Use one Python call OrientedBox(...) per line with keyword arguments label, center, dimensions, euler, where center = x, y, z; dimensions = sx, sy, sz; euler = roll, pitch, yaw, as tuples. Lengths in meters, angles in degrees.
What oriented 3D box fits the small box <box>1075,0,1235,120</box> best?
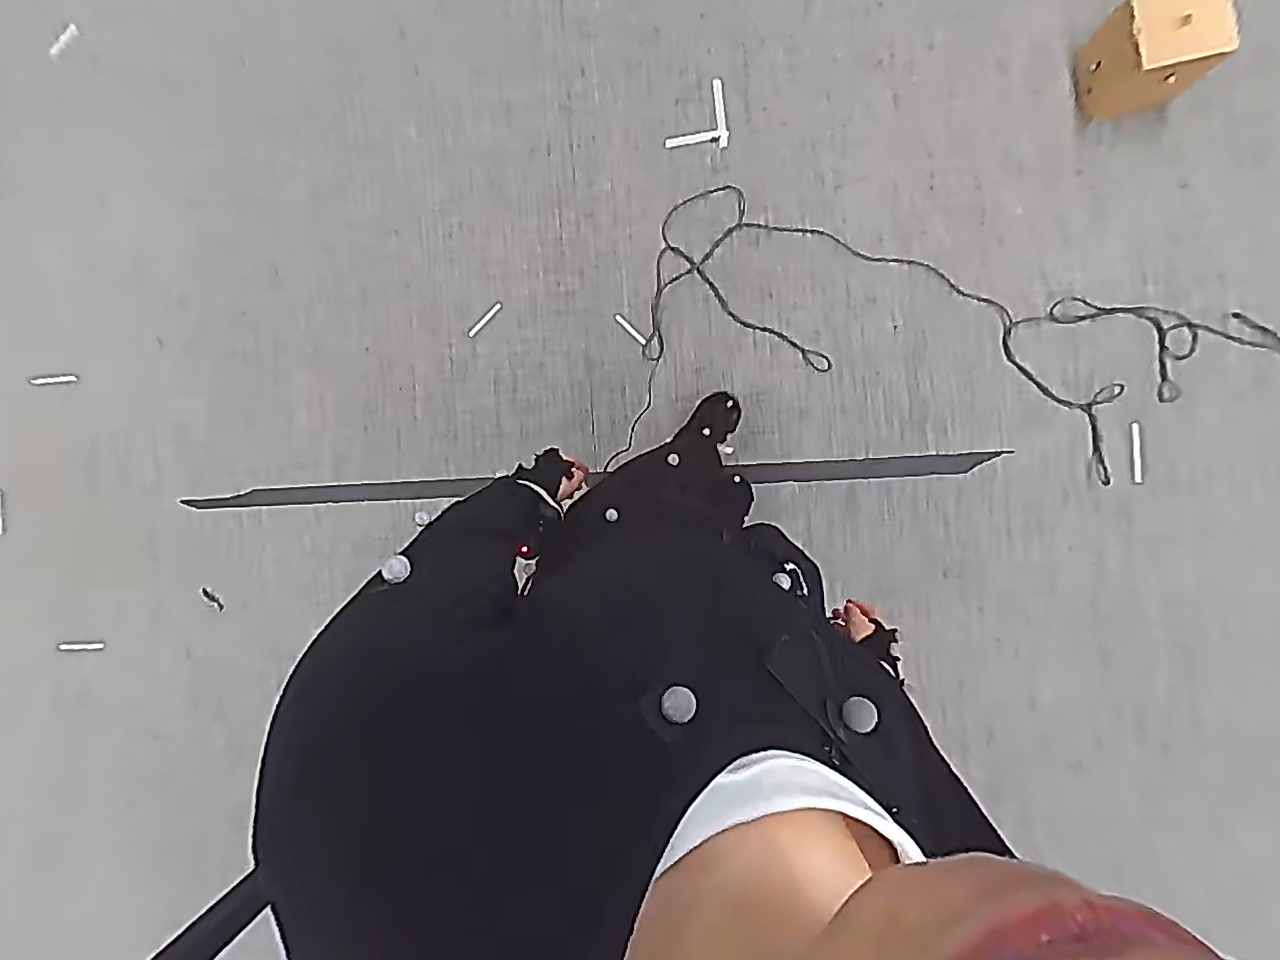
OrientedBox(label="small box", center=(1.096, -0.923, 1.164), dimensions=(0.179, 0.176, 0.168), euler=(-9, 89, 8))
